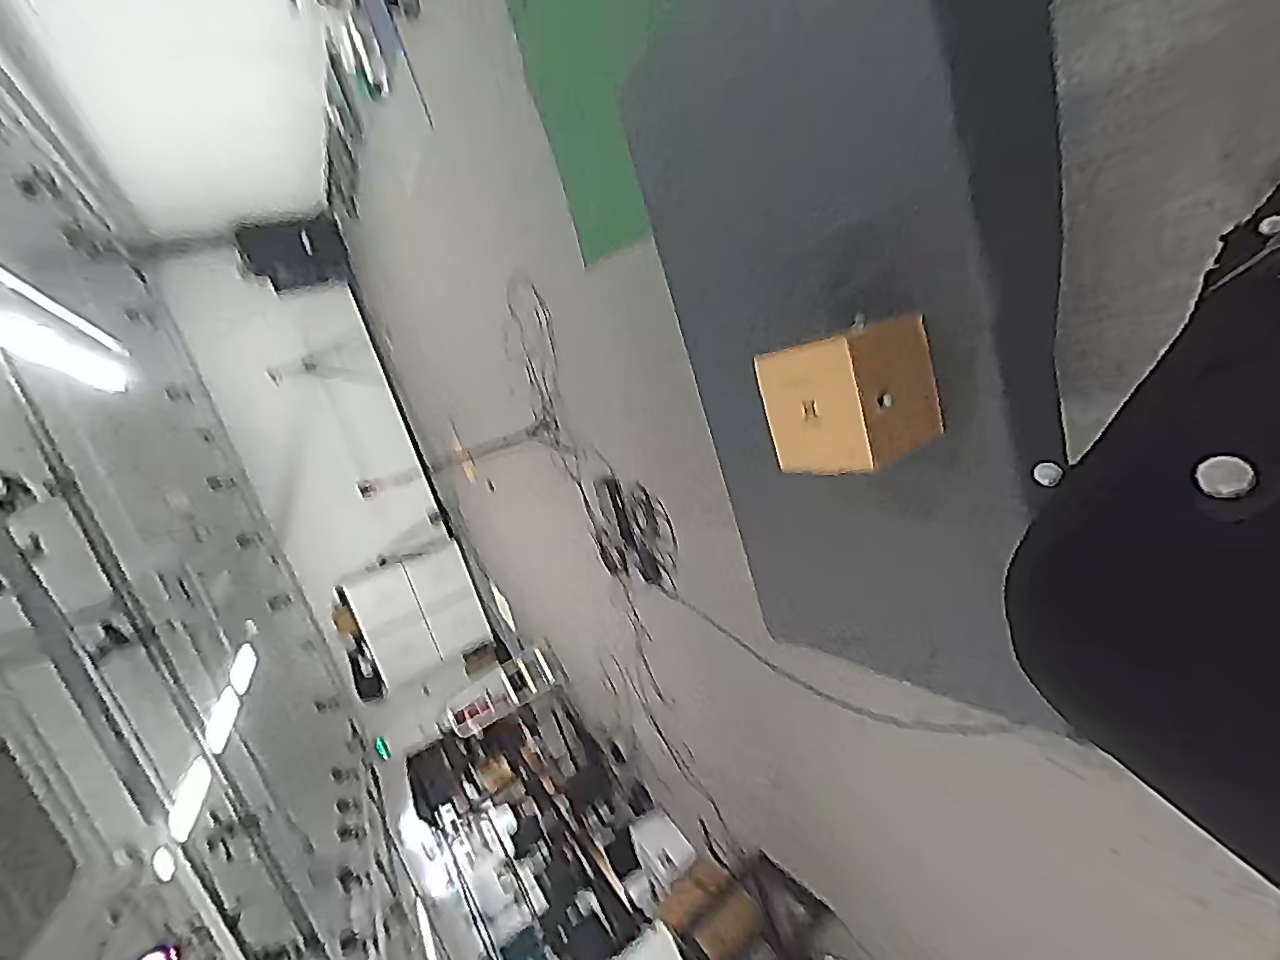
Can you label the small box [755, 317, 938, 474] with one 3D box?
[{"bbox_3d":[0.301,-0.118,0.783,0.168,0.176,0.179,0,110,59],"label":"small box"}]
